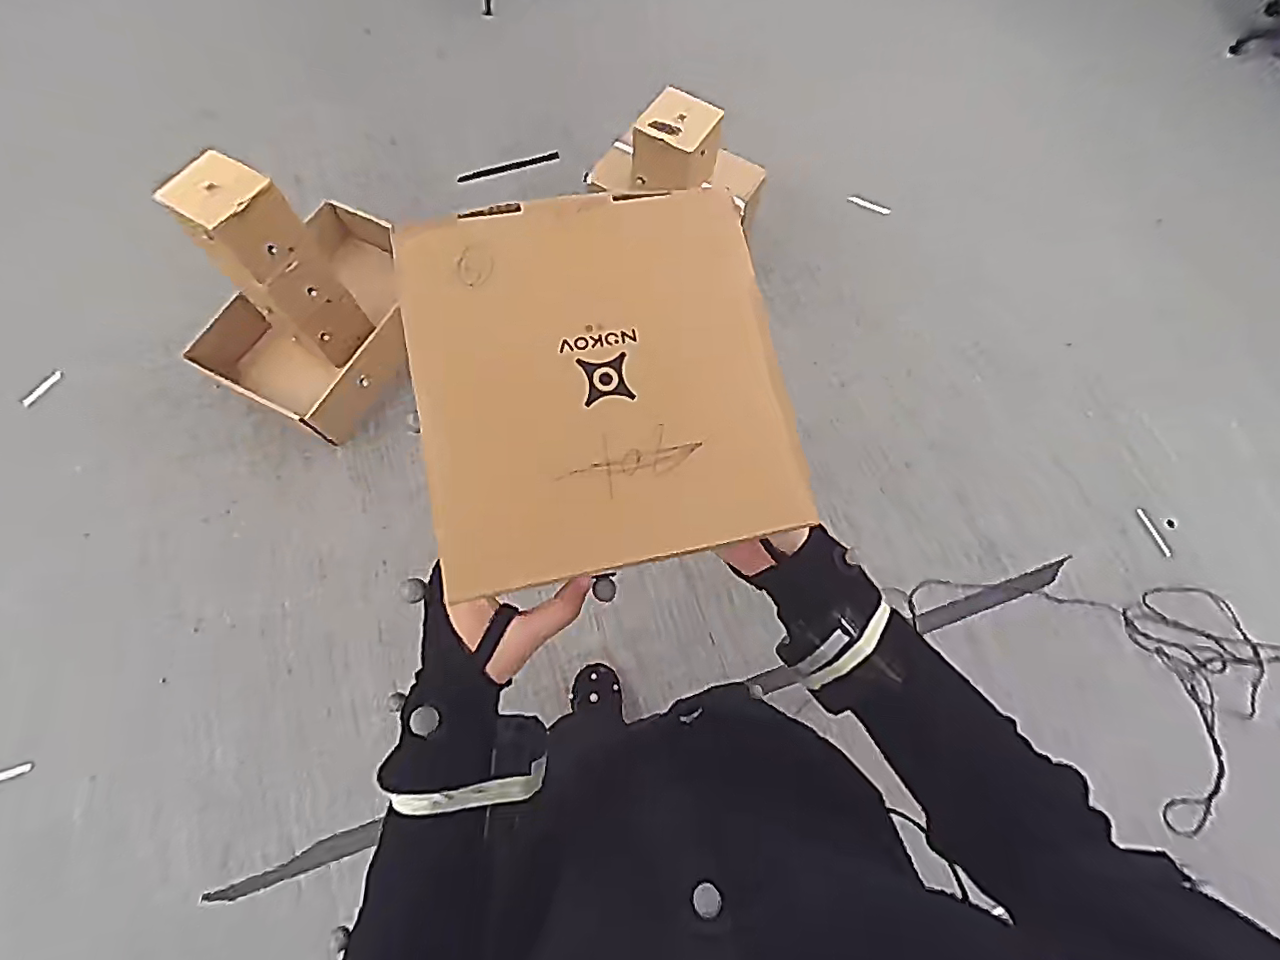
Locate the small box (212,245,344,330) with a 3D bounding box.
[{"bbox_3d":[-0.887,-0.503,1.346,0.179,0.176,0.168,29,71,8],"label":"small box"}]

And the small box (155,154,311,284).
[{"bbox_3d":[-0.886,-0.569,1.196,0.179,0.176,0.168,28,71,9],"label":"small box"}]

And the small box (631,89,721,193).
[{"bbox_3d":[0.088,-0.850,1.400,0.168,0.176,0.179,30,71,8],"label":"small box"}]

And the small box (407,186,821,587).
[{"bbox_3d":[-0.022,-0.037,0.325,0.168,0.176,0.179,-11,82,-9],"label":"small box"}]
